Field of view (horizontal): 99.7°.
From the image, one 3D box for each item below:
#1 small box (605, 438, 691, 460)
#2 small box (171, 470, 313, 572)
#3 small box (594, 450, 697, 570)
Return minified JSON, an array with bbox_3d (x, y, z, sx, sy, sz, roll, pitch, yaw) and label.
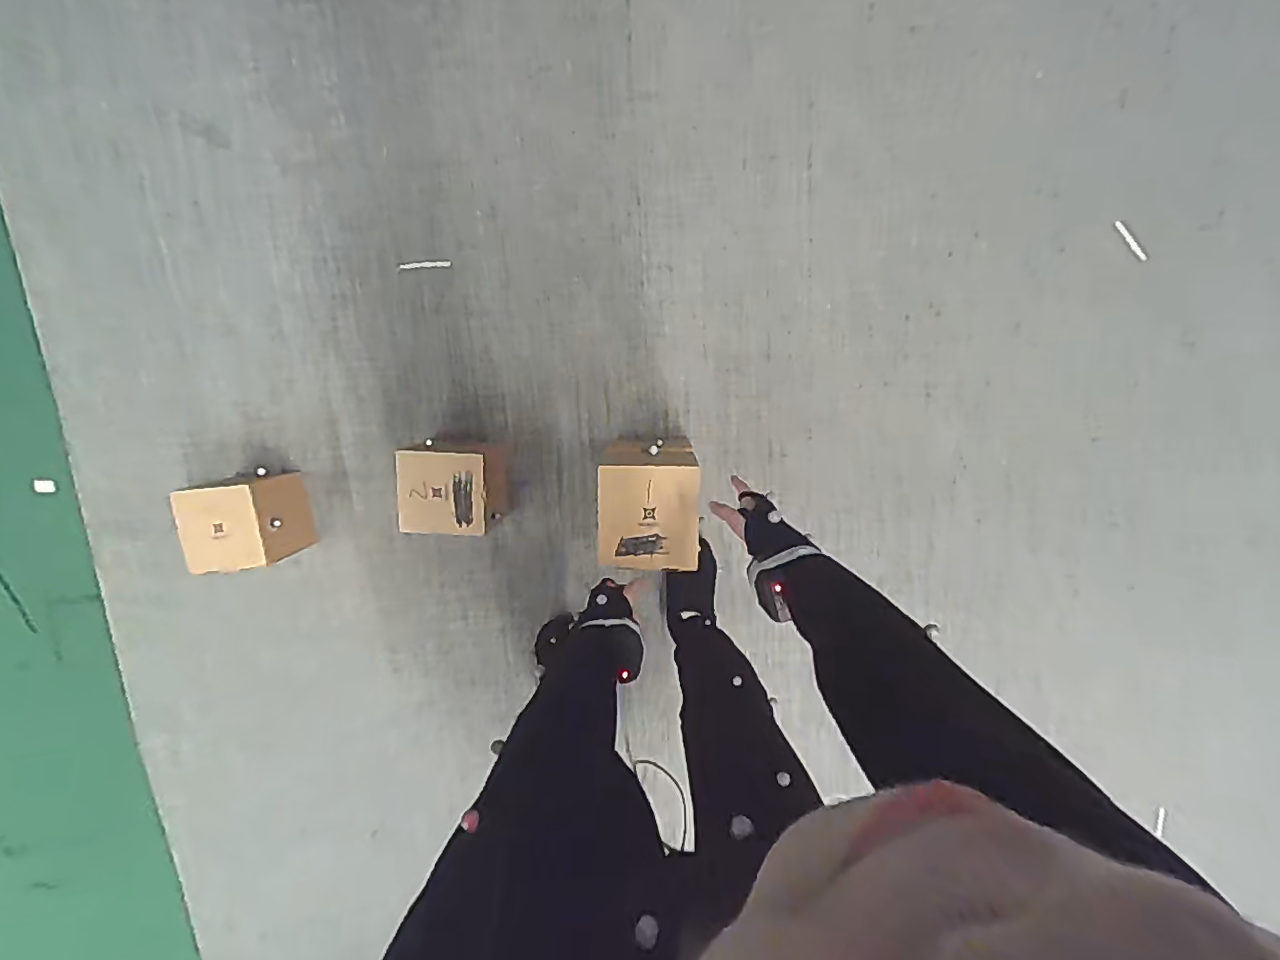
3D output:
[{"bbox_3d":[0.019,0.011,1.108,0.168,0.176,0.179,-1,101,2],"label":"small box"},{"bbox_3d":[-0.834,0.082,1.154,0.168,0.176,0.179,-4,100,2],"label":"small box"},{"bbox_3d":[0.012,0.046,0.947,0.168,0.176,0.179,1,100,2],"label":"small box"}]
